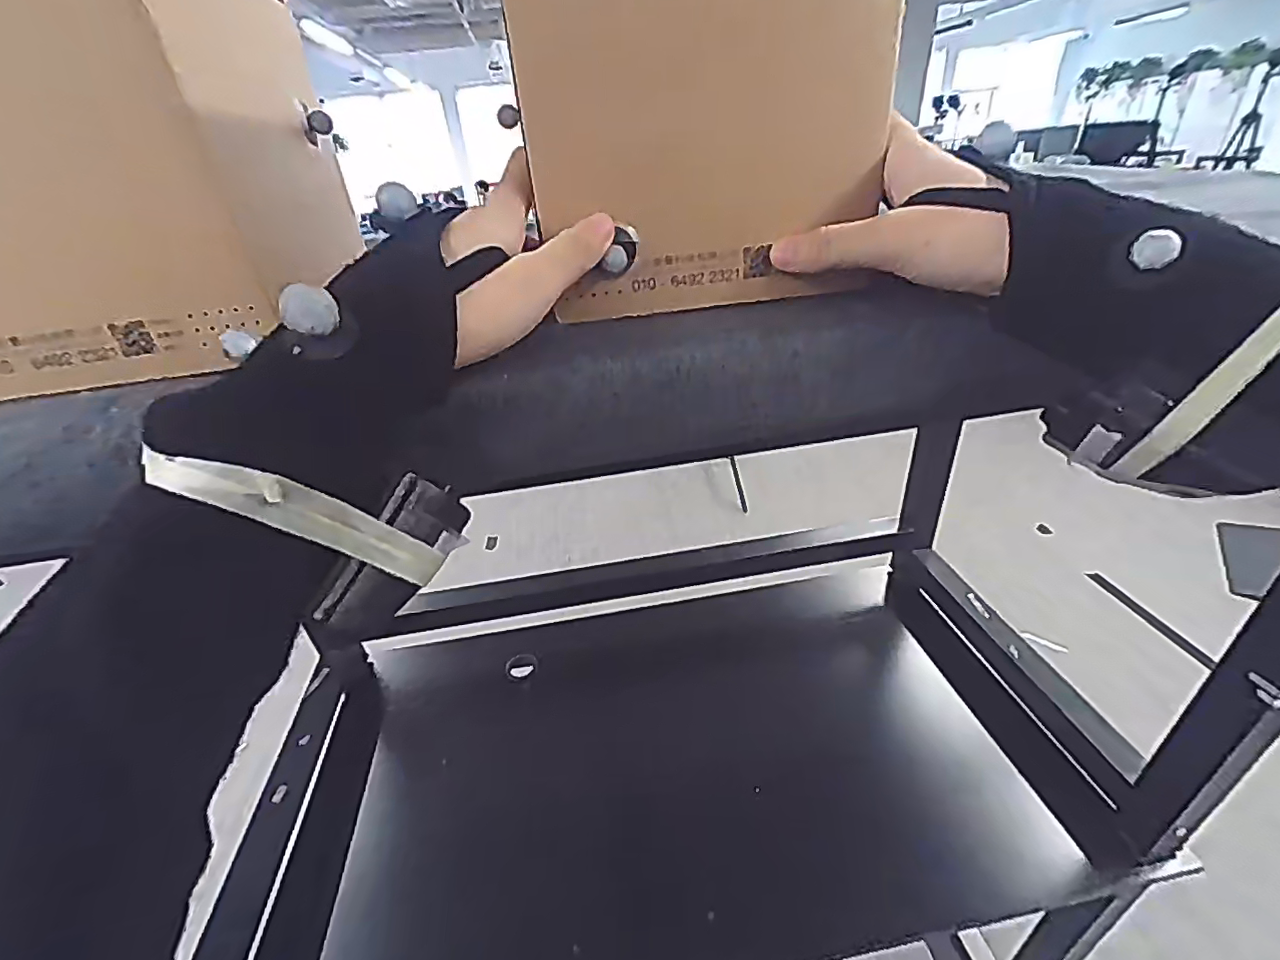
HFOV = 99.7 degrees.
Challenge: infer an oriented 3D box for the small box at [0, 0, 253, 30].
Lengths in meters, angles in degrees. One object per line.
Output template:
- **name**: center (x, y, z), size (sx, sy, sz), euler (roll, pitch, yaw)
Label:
- **small box**: center (-0.276, -0.294, 0.194), size (0.168, 0.176, 0.179), euler (-9, 30, -6)

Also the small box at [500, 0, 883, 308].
- **small box**: center (0.019, -0.200, 0.305), size (0.168, 0.176, 0.179), euler (-8, 30, -5)
